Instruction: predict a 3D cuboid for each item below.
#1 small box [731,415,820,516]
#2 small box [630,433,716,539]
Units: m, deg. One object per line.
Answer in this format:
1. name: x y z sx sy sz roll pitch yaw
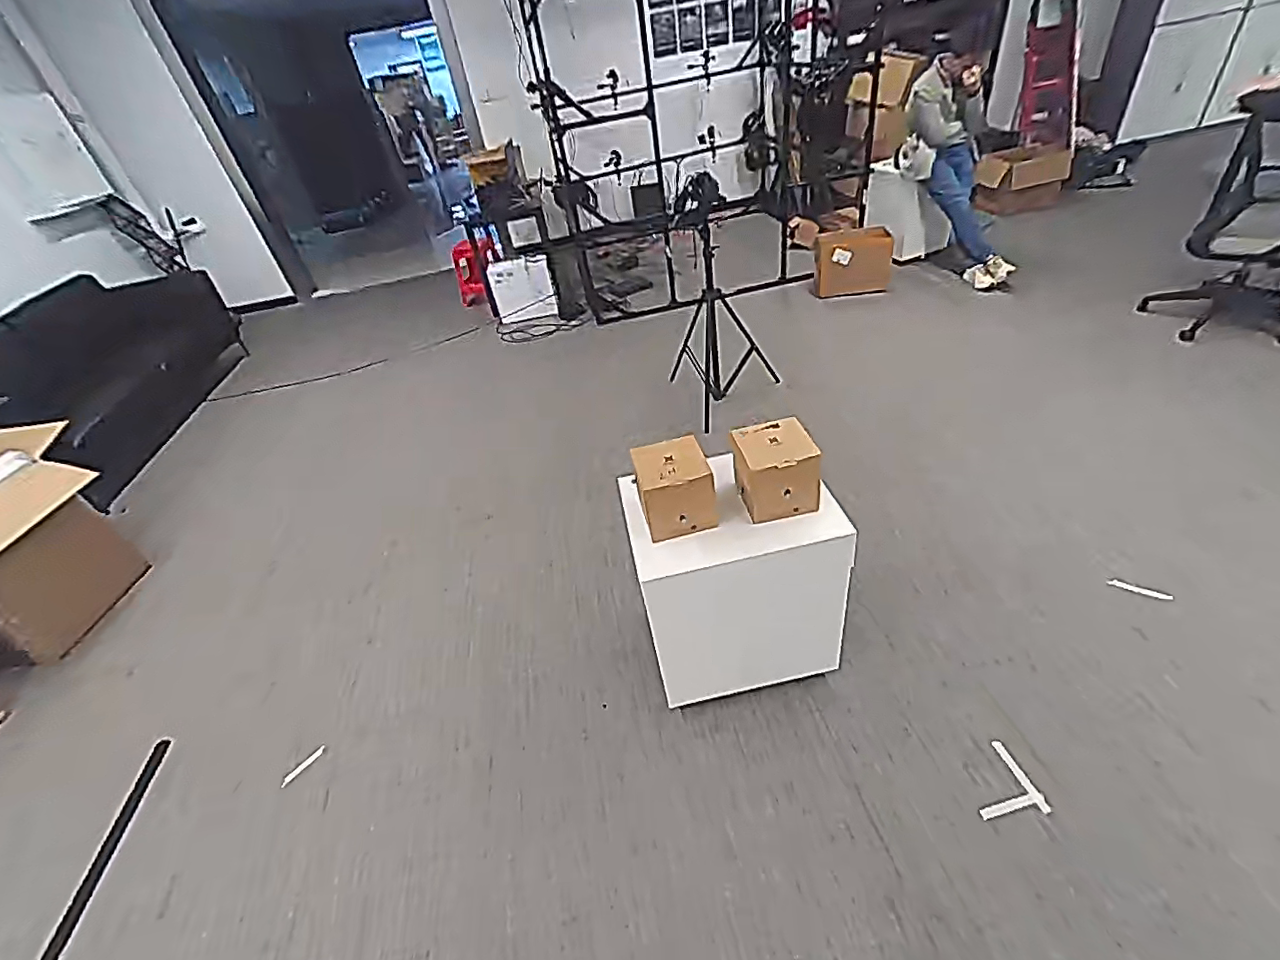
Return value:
1. small box: 0.326 -0.029 1.318 0.168 0.176 0.179 -12 39 -1
2. small box: 0.081 0.015 1.324 0.168 0.176 0.179 -14 38 -3
